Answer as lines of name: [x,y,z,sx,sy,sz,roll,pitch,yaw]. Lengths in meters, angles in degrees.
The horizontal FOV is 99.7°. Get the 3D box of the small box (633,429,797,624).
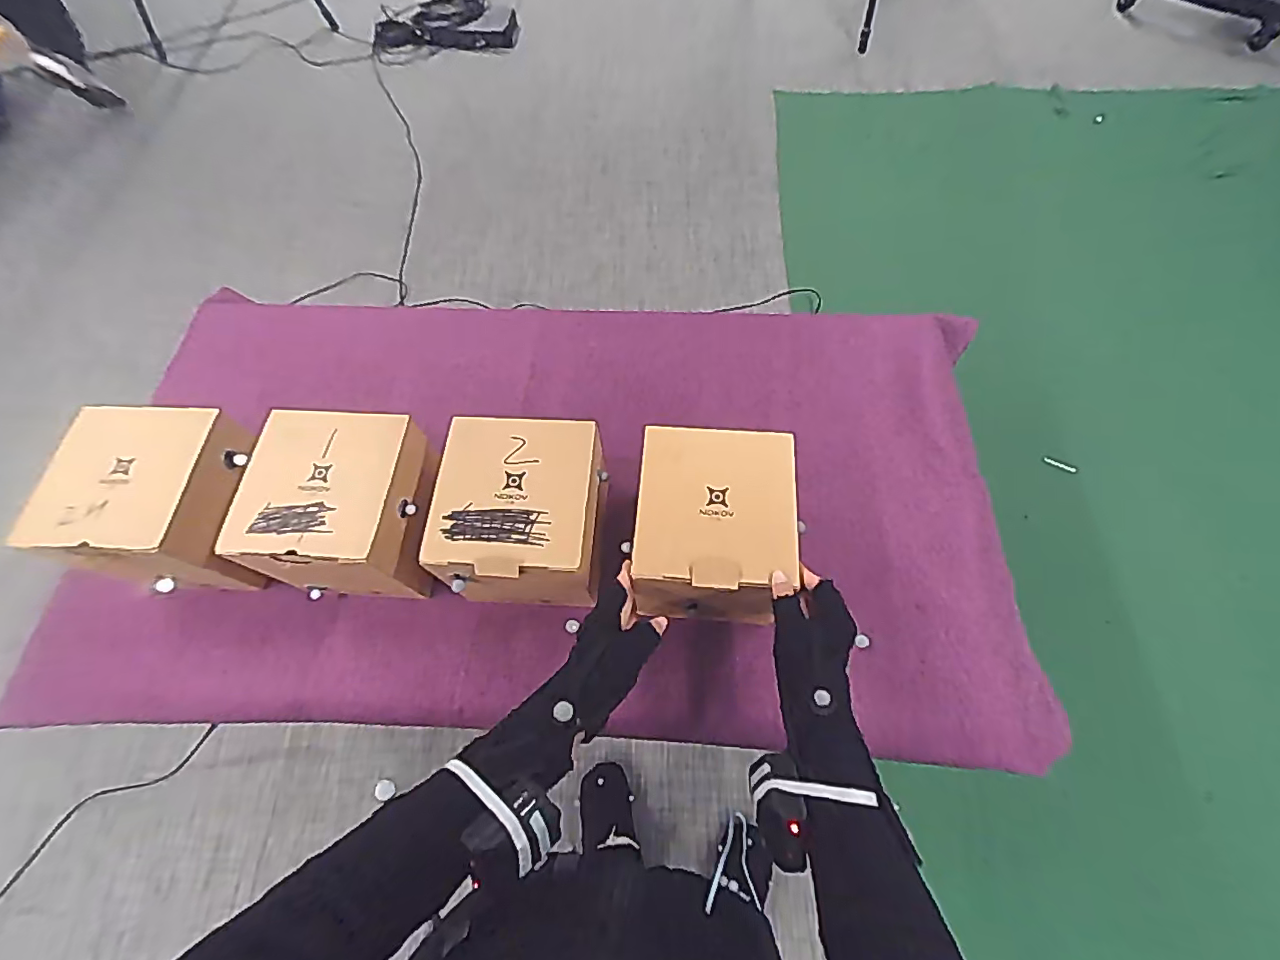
small box: [0.083,0.060,0.640,0.168,0.176,0.179,4,64,4]

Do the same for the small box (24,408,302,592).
small box: [-0.564,0.030,0.675,0.168,0.176,0.179,2,65,3]
